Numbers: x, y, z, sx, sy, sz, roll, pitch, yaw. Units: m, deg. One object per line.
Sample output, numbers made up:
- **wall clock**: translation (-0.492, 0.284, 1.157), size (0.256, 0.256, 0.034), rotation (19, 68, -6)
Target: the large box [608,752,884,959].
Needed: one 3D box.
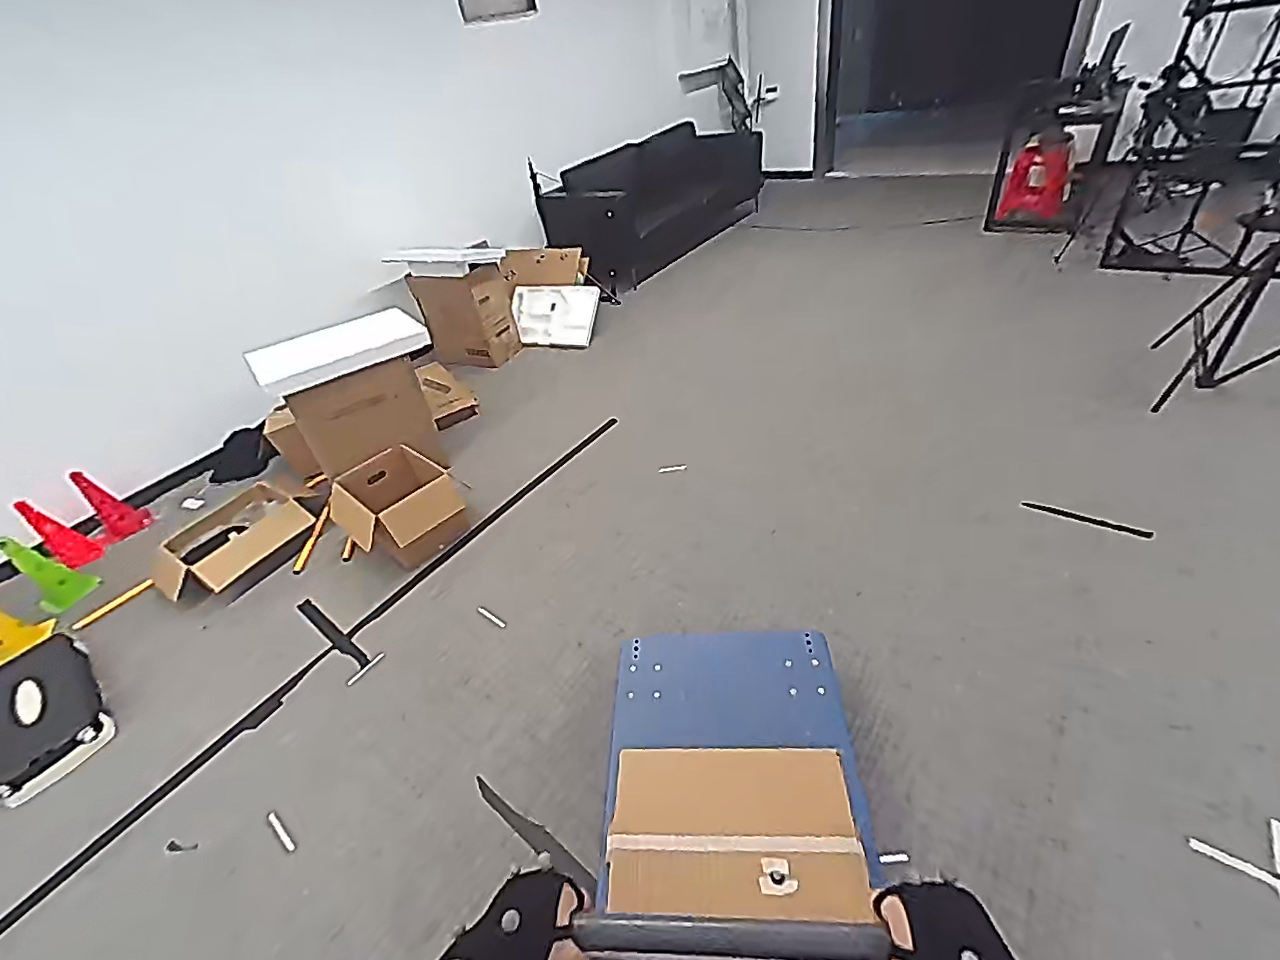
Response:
- **large box**: translation (0.169, 0.721, 0.978), size (0.408, 0.320, 0.320), rotation (-4, 39, 7)
